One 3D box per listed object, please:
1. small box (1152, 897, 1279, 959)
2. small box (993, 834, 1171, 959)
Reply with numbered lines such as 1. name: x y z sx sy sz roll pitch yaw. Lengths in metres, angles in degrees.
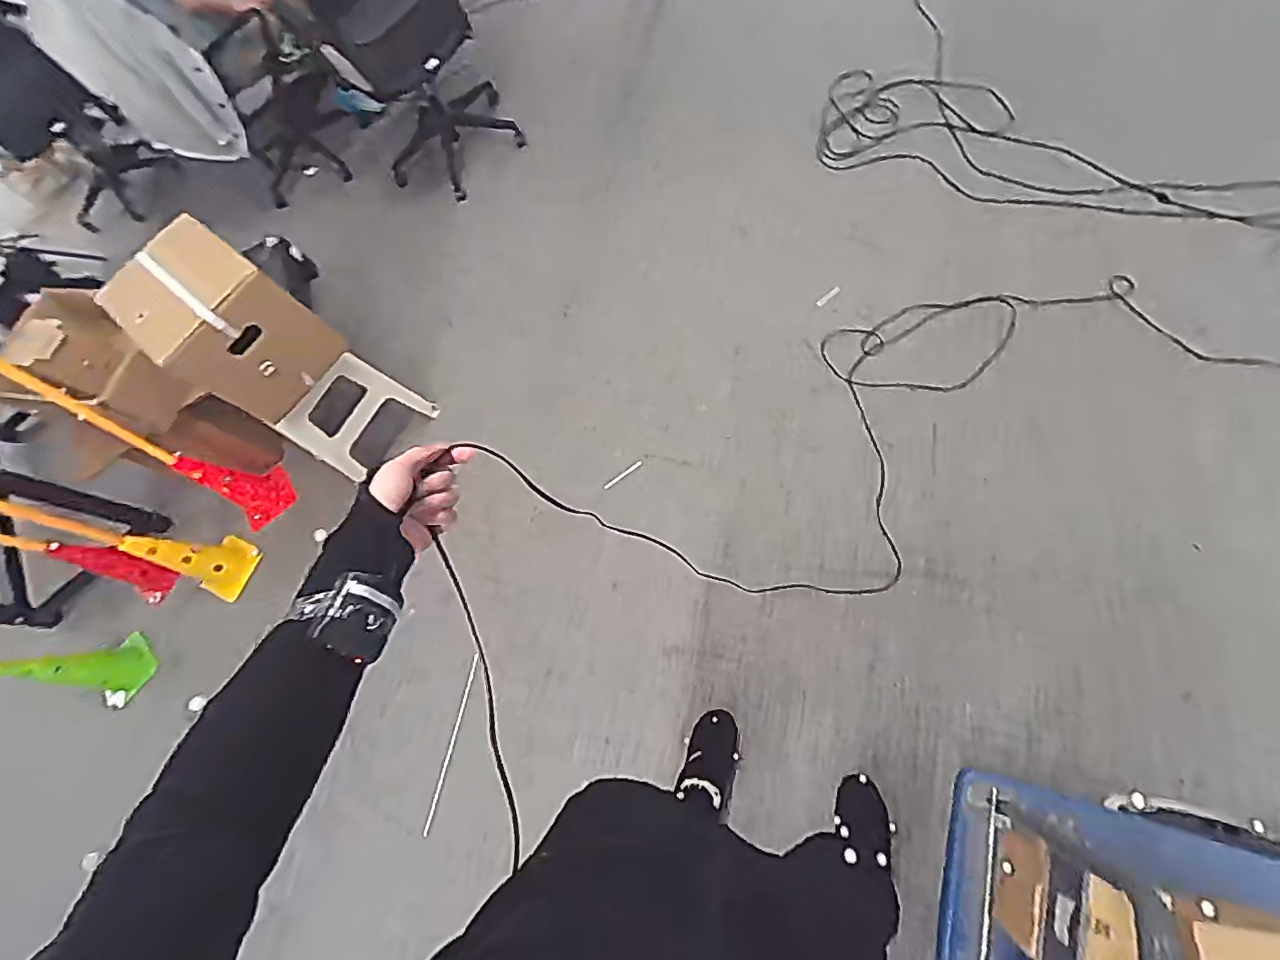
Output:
1. small box: 0.931 0.783 0.841 0.179 0.176 0.168 -1 69 15
2. small box: 0.735 0.736 0.916 0.179 0.176 0.168 15 74 20
